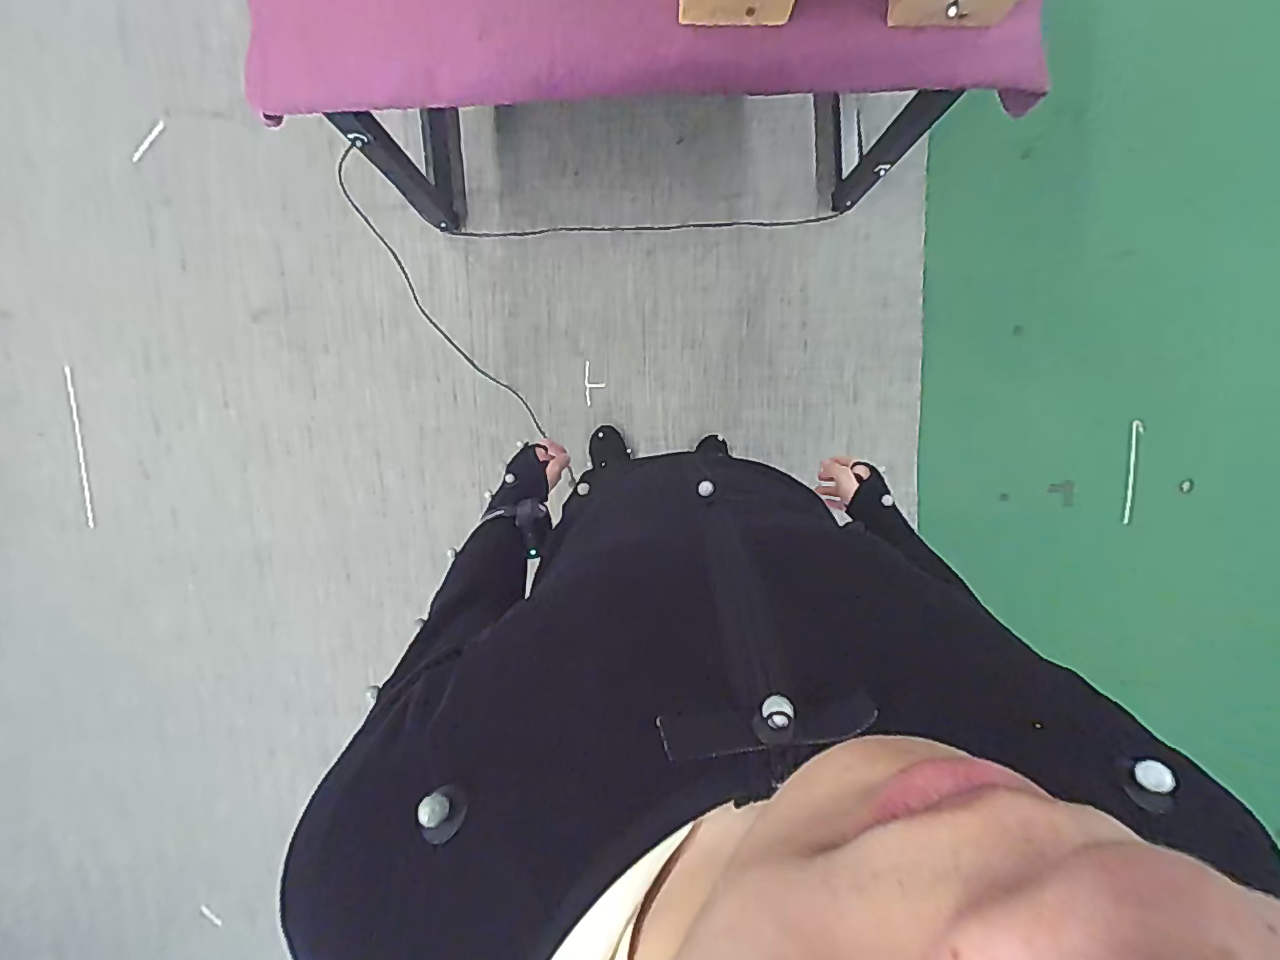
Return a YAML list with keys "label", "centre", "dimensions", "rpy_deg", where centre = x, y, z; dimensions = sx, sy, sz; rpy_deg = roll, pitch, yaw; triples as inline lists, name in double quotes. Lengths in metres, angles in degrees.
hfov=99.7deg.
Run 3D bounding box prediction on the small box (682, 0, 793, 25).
- label: "small box"
  centre: [0.145, -0.775, 0.746]
  dimensions: [0.168, 0.176, 0.179]
  rpy_deg: [0, 94, 0]
